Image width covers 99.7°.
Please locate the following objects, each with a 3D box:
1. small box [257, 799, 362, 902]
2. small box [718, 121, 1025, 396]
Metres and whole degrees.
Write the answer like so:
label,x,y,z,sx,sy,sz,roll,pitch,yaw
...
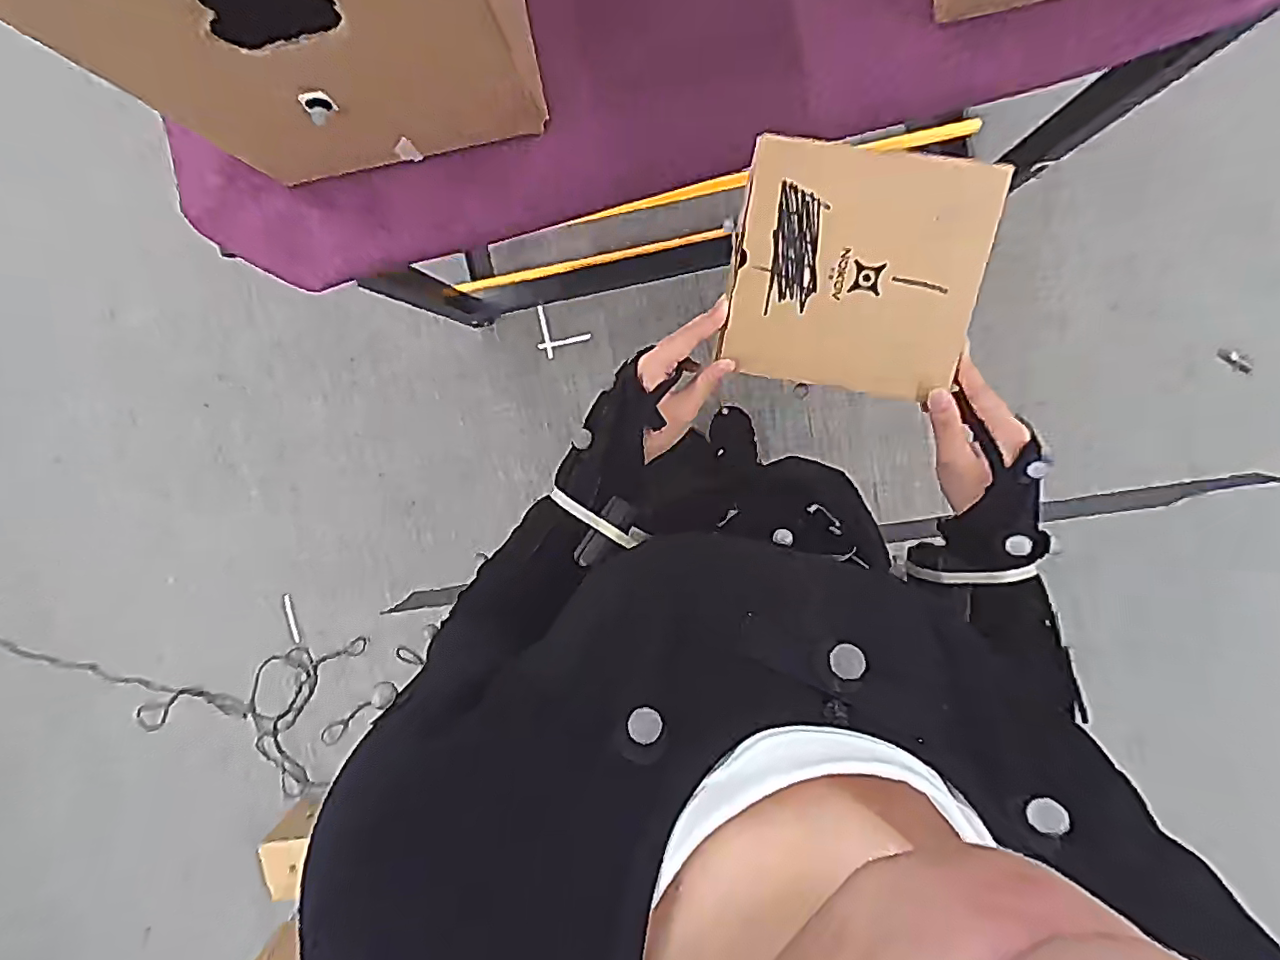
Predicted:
label,x,y,z,sx,sy,sz,roll,pitch,yaw
small box,-0.908,1.017,1.500,0.168,0.176,0.179,-8,98,6
small box,0.165,-0.170,0.457,0.179,0.176,0.168,10,104,4
